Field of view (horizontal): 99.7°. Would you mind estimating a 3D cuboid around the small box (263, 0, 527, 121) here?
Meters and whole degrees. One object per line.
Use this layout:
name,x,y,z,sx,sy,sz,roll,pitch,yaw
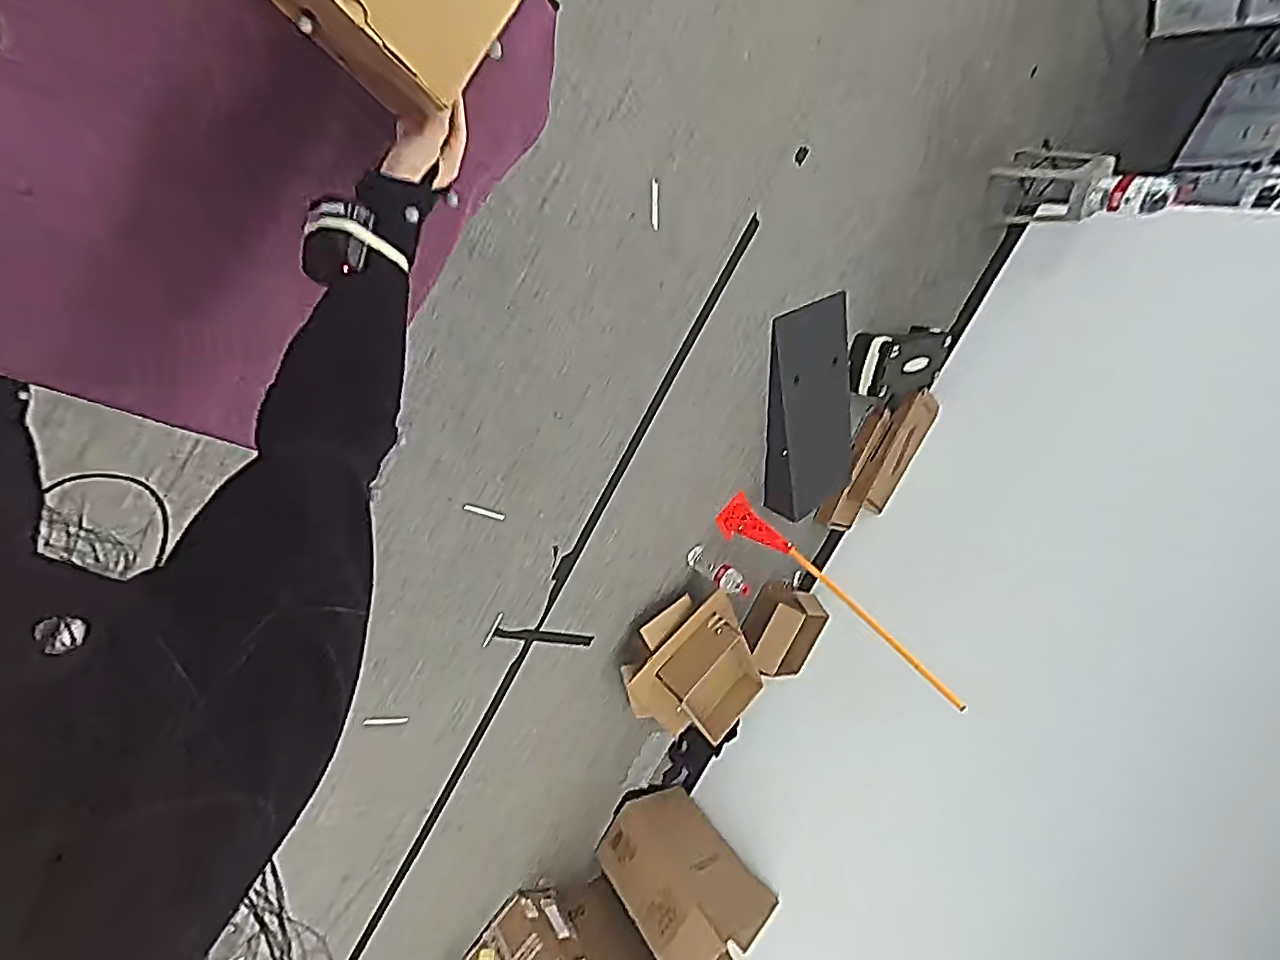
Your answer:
small box,-0.211,-0.444,0.454,0.179,0.176,0.168,-55,138,3
